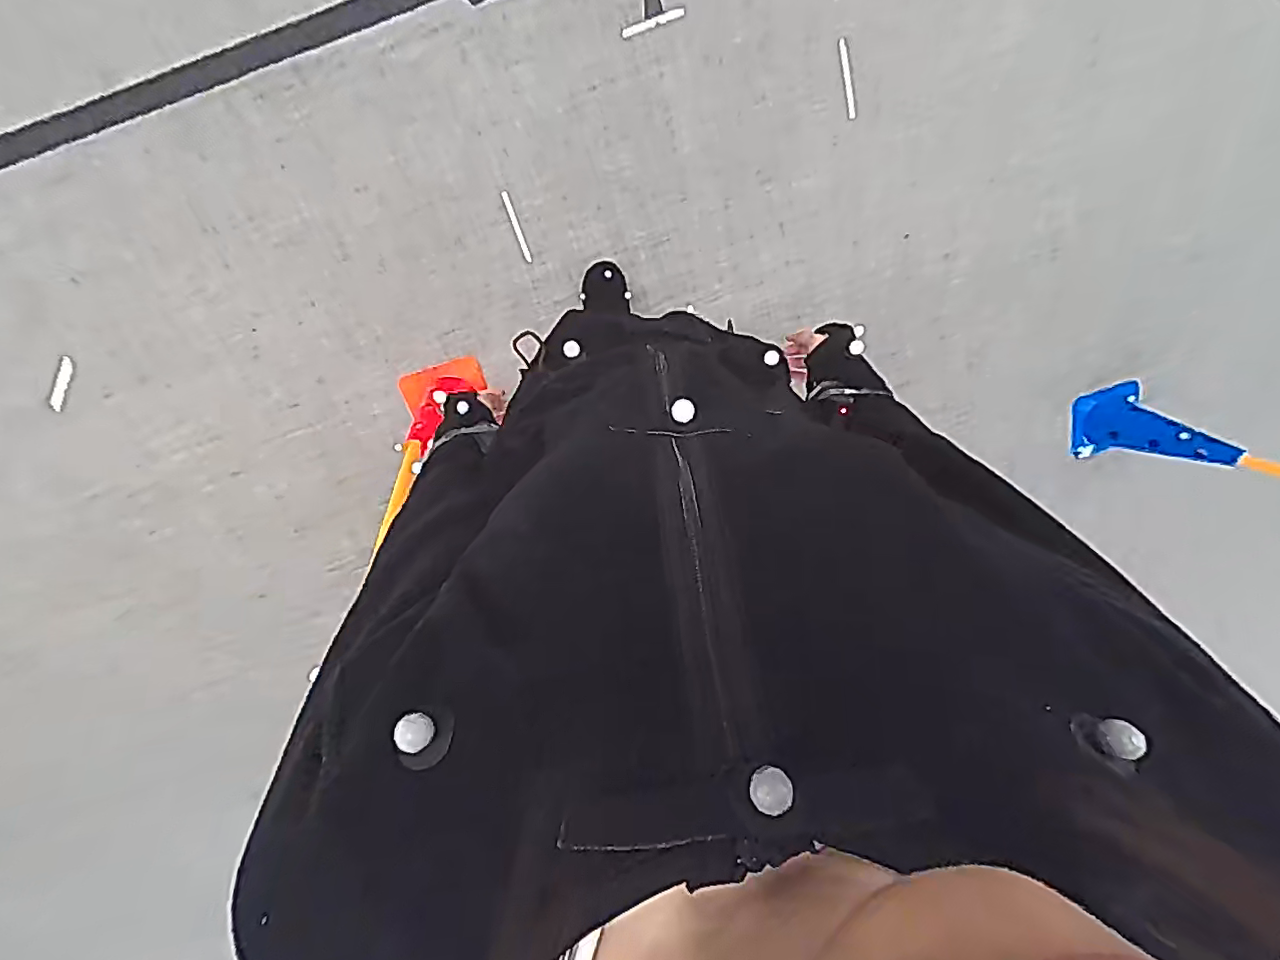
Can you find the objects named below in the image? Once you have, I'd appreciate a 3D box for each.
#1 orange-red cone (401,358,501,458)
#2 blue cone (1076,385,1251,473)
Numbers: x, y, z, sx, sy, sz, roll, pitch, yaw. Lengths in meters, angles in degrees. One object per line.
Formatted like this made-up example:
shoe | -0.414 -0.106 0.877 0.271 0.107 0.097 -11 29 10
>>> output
orange-red cone | -0.440 -0.122 1.164 0.198 0.360 0.199 -17 112 -1
blue cone | 1.388 -0.111 1.431 0.193 0.380 0.192 -16 113 -1
